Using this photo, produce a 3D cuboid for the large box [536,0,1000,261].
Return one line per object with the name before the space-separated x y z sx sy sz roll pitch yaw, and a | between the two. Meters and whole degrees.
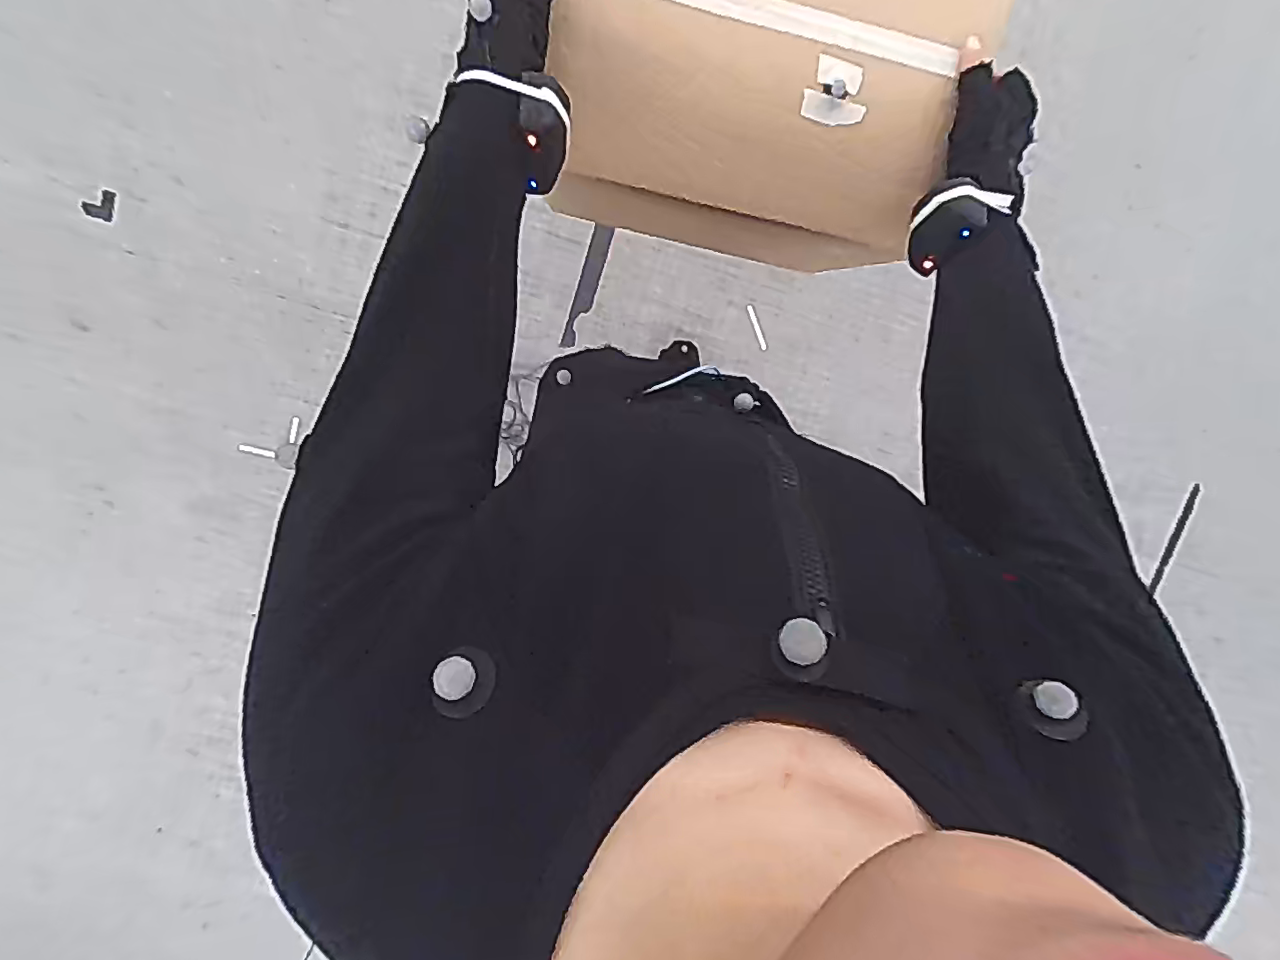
large box | 0.108 -0.460 0.626 0.408 0.320 0.320 9 109 -8
